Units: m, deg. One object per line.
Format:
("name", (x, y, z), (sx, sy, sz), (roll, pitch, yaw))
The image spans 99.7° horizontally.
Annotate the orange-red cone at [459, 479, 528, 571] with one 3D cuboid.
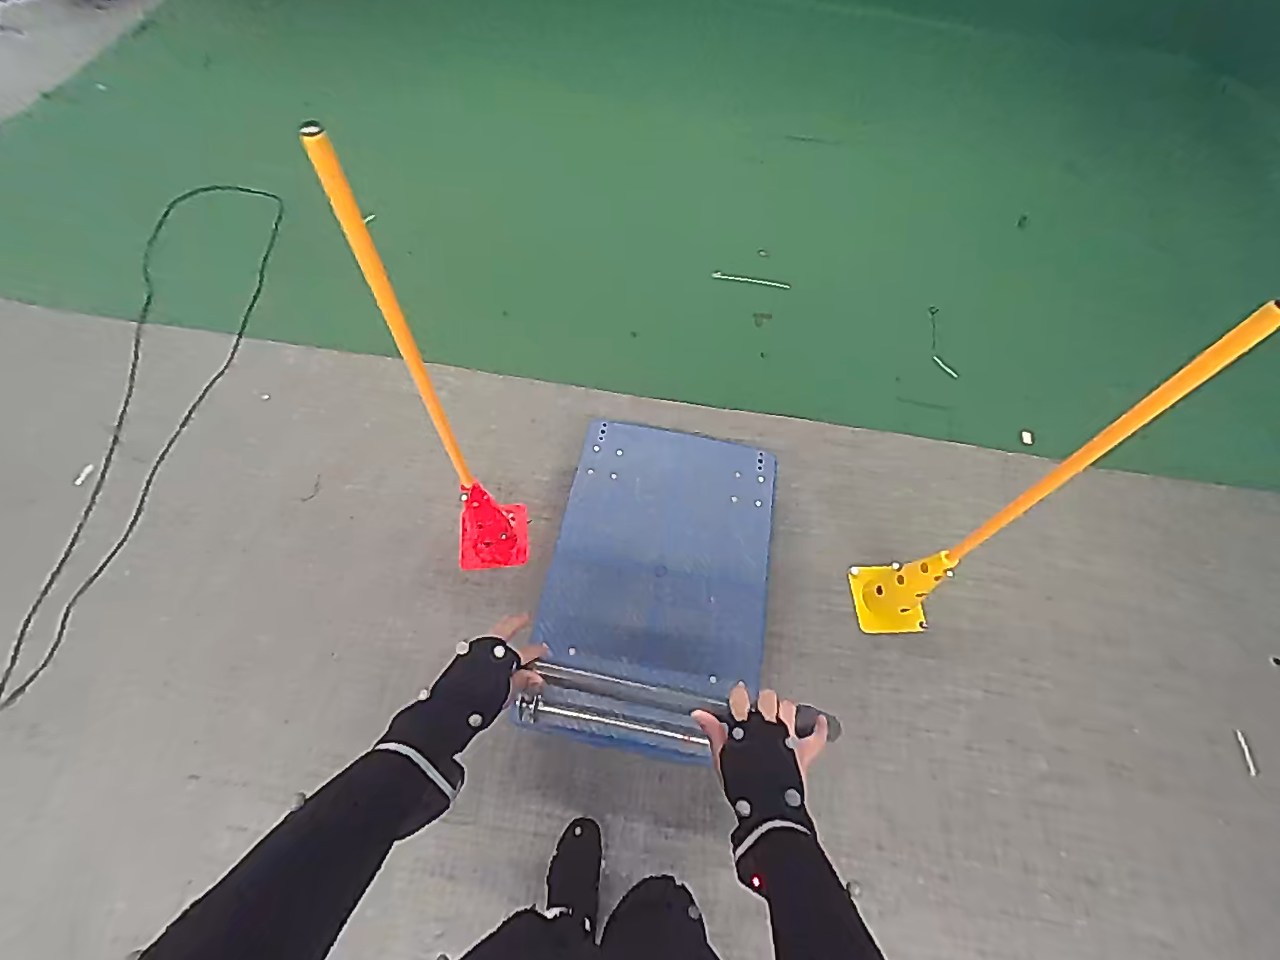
("orange-red cone", (-0.435, 0.096, 1.479), (0.199, 0.360, 0.198), (-5, 62, -4))
